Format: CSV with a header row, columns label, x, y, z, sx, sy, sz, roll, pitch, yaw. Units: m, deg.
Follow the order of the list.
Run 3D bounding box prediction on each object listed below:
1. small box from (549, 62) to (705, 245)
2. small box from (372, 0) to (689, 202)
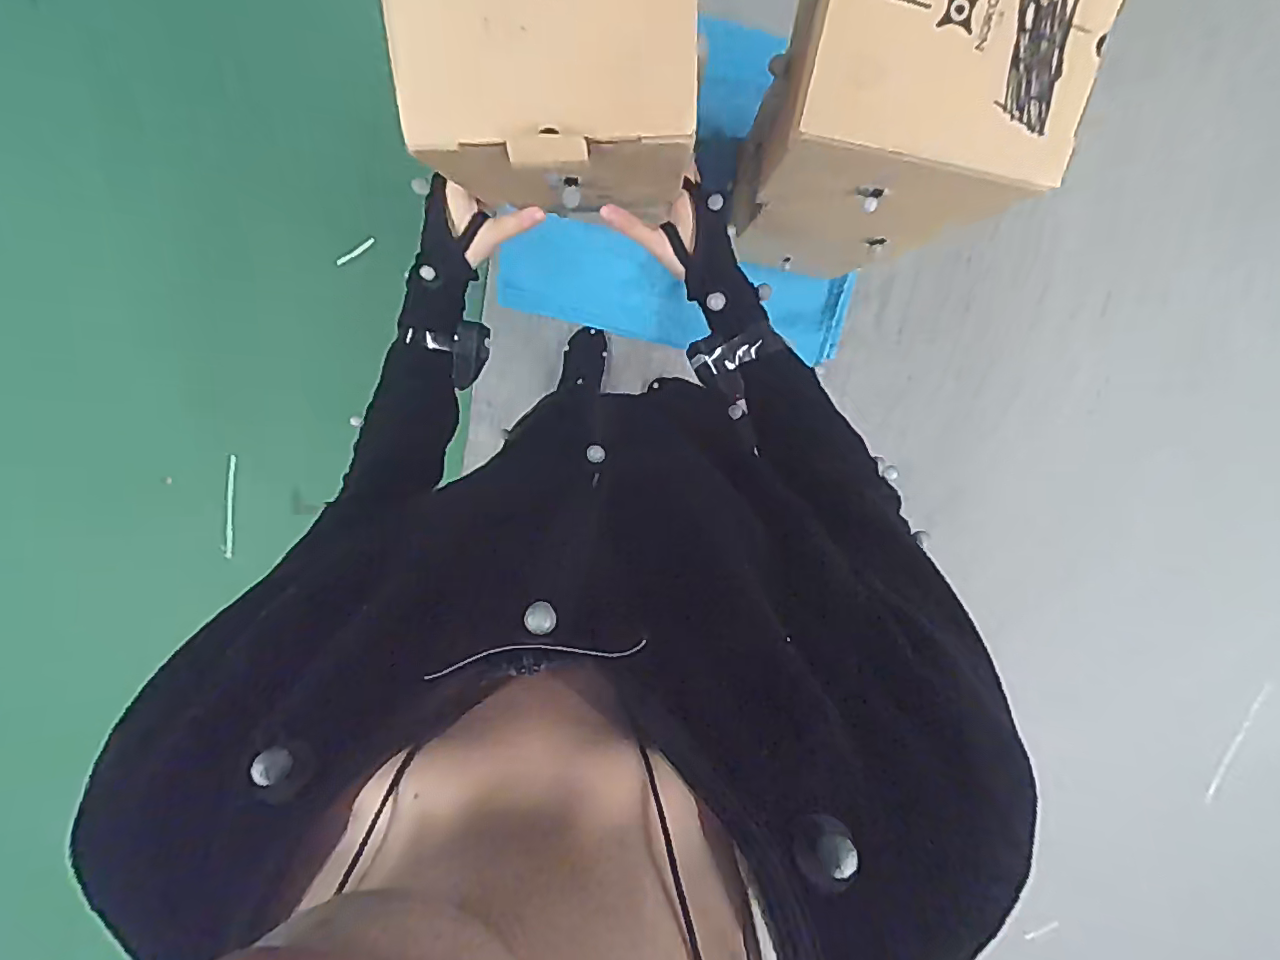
label,x,y,z,sx,sy,sz,roll,pitch,yaw
small box,-0.024,-0.431,0.713,0.168,0.176,0.179,14,102,-4
small box,-0.054,-0.286,0.347,0.168,0.176,0.179,-1,107,0
